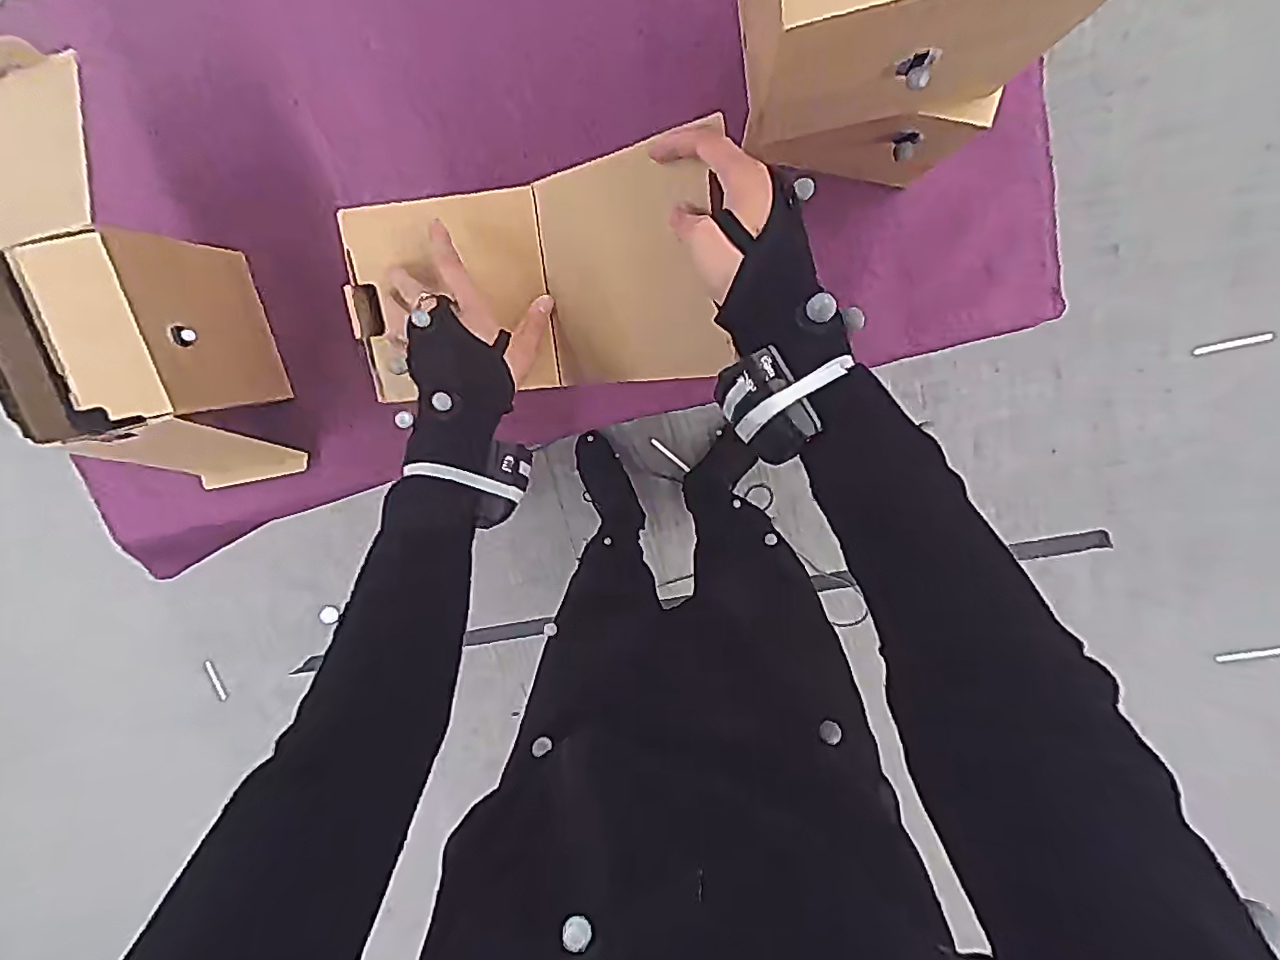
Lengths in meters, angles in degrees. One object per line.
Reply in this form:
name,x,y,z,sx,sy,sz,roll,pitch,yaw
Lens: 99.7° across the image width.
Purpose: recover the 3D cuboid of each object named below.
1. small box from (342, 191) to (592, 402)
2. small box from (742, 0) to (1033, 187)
small box,-0.155,-0.172,0.545,0.179,0.176,0.168,-4,105,6
small box,0.195,-0.366,0.454,0.179,0.176,0.168,13,105,3
